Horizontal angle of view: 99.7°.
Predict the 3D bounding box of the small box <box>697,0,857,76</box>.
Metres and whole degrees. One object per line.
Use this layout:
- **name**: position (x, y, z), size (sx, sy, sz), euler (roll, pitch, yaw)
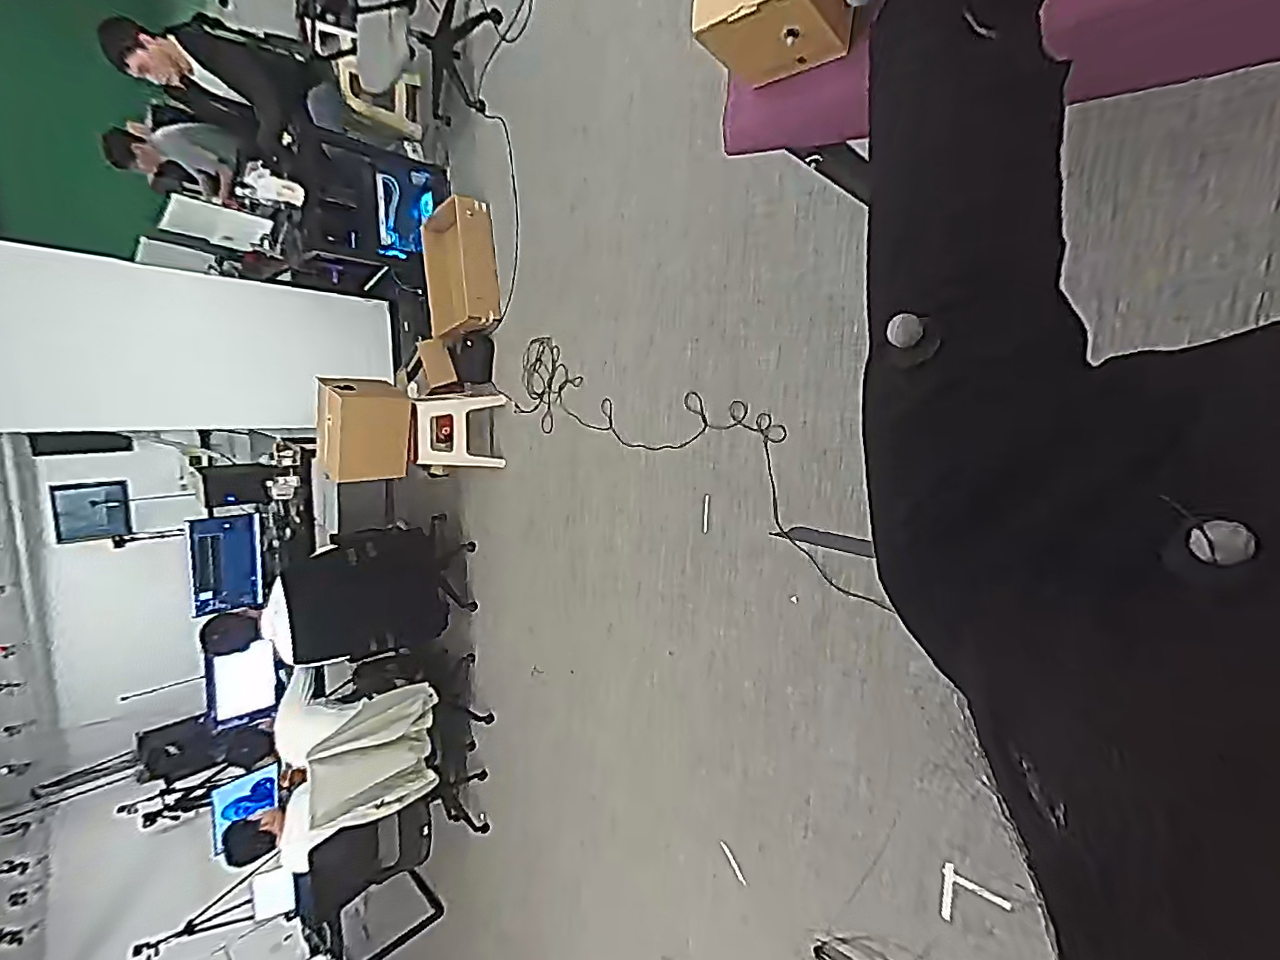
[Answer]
- **small box**: position (0.199, -0.708, 0.756), size (0.168, 0.176, 0.179), euler (11, 101, 40)
